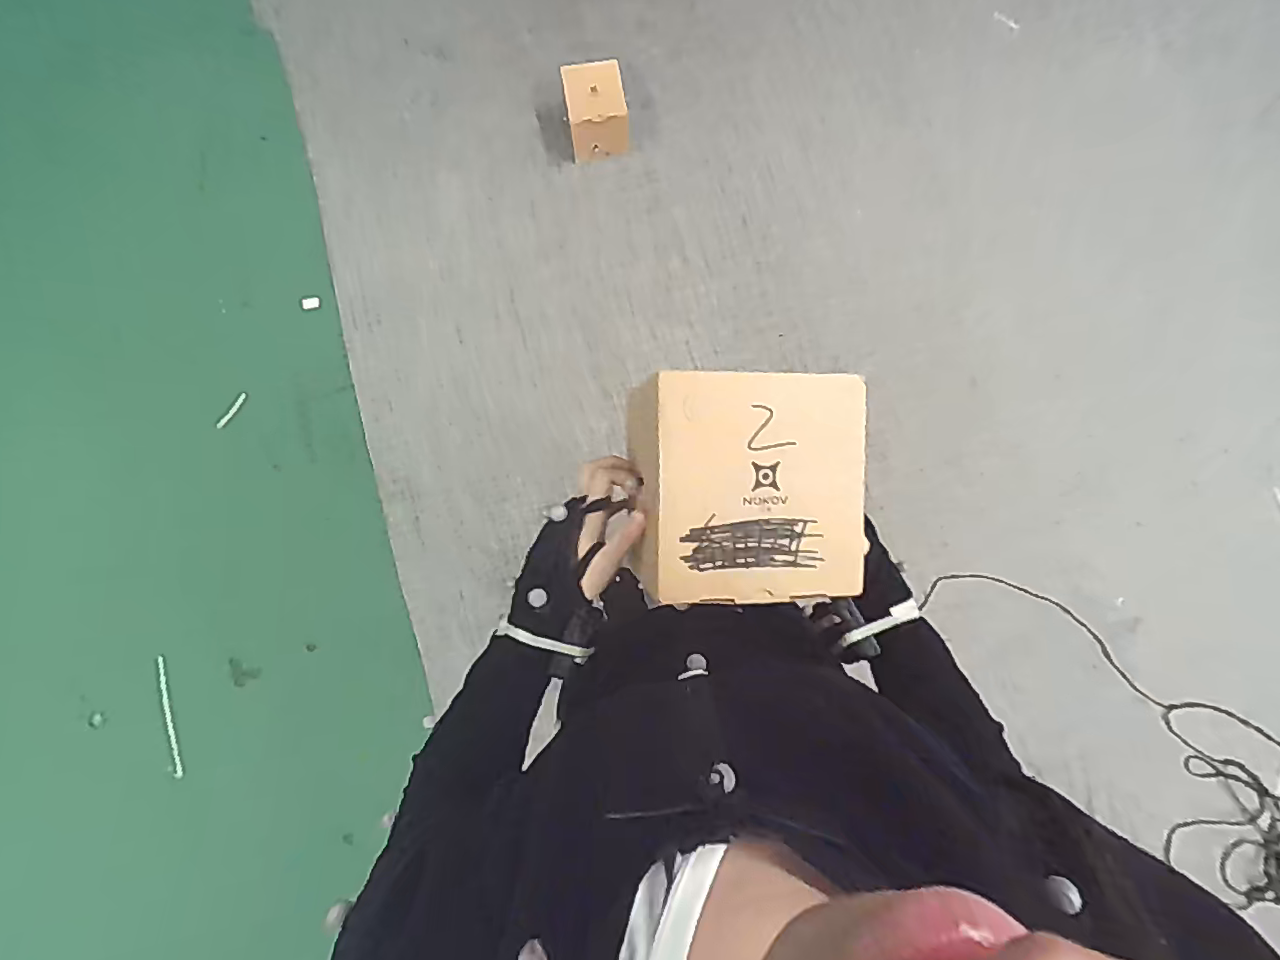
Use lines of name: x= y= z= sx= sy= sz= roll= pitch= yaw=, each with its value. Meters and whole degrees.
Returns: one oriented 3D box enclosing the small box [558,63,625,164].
small box: x=-0.142 y=-1.076 z=1.594 sx=0.168 sy=0.176 sz=0.179 roll=-10 pitch=84 yaw=-4
